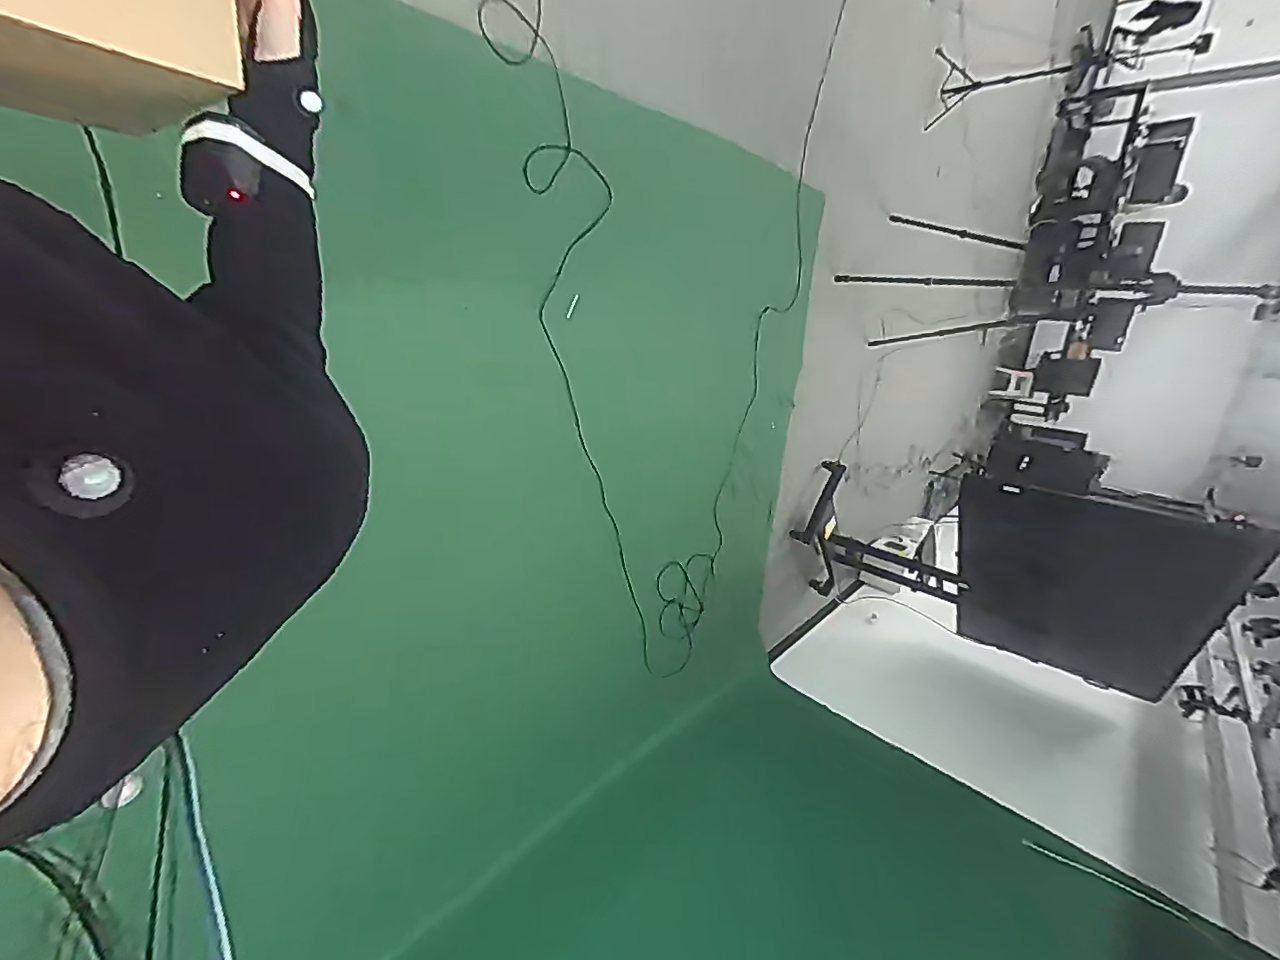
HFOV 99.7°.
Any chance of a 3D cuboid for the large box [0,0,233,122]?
[{"bbox_3d":[-0.554,-0.459,0.326,0.408,0.320,0.320,-18,117,-49],"label":"large box"}]
